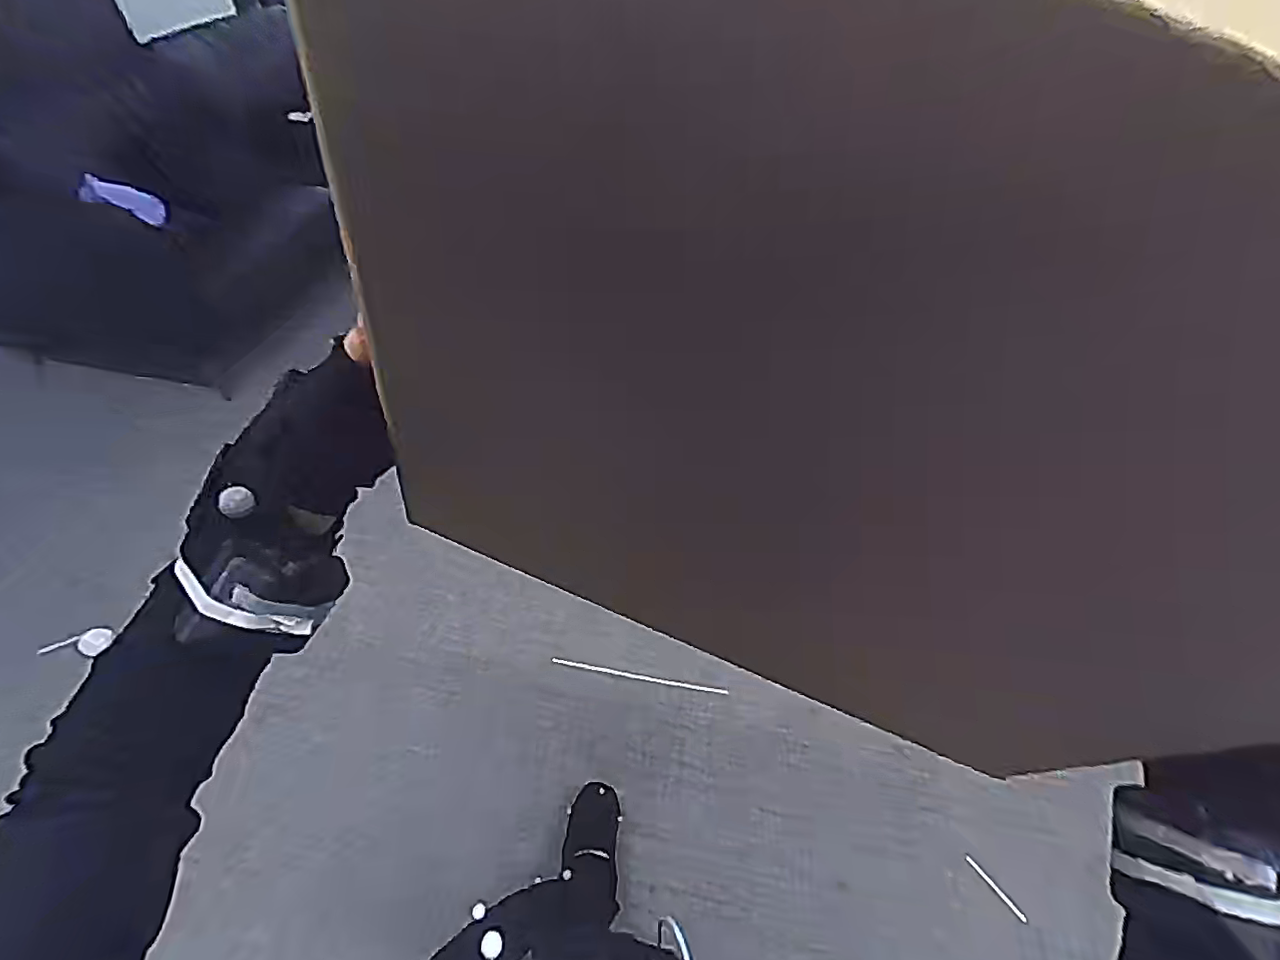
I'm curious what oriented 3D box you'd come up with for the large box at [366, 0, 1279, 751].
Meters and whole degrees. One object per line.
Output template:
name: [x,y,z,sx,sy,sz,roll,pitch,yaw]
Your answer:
large box: [0.126,-0.094,0.317,0.408,0.320,0.320,24,54,0]
